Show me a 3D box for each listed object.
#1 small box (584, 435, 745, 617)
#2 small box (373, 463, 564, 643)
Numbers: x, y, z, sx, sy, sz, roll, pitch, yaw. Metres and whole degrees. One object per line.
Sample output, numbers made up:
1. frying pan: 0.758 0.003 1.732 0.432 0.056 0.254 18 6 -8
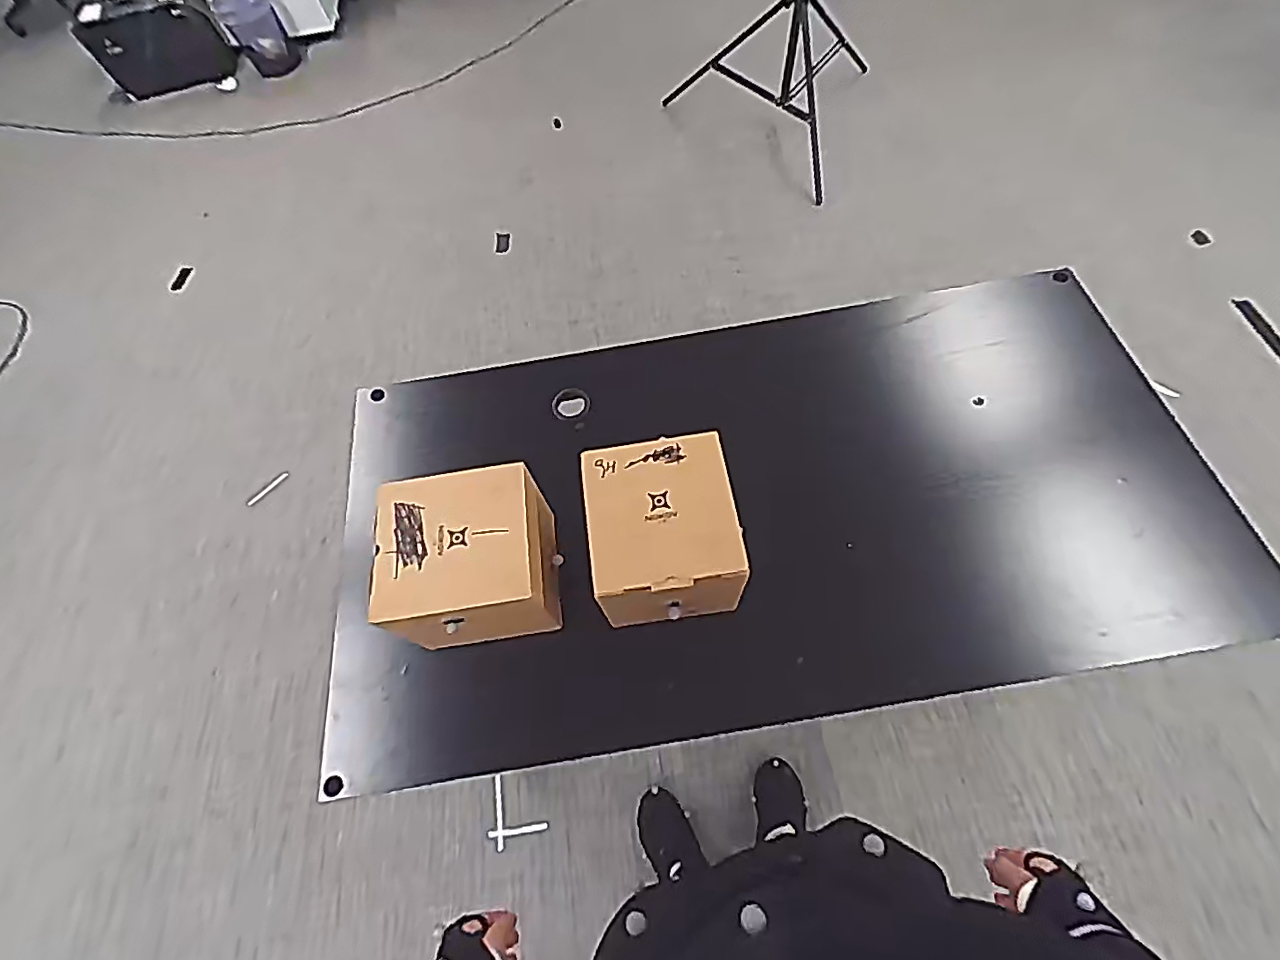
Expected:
1. small box: 0.028 0.068 0.674 0.168 0.176 0.179 -8 65 0
2. small box: -0.202 0.099 0.677 0.179 0.176 0.168 -9 64 0
